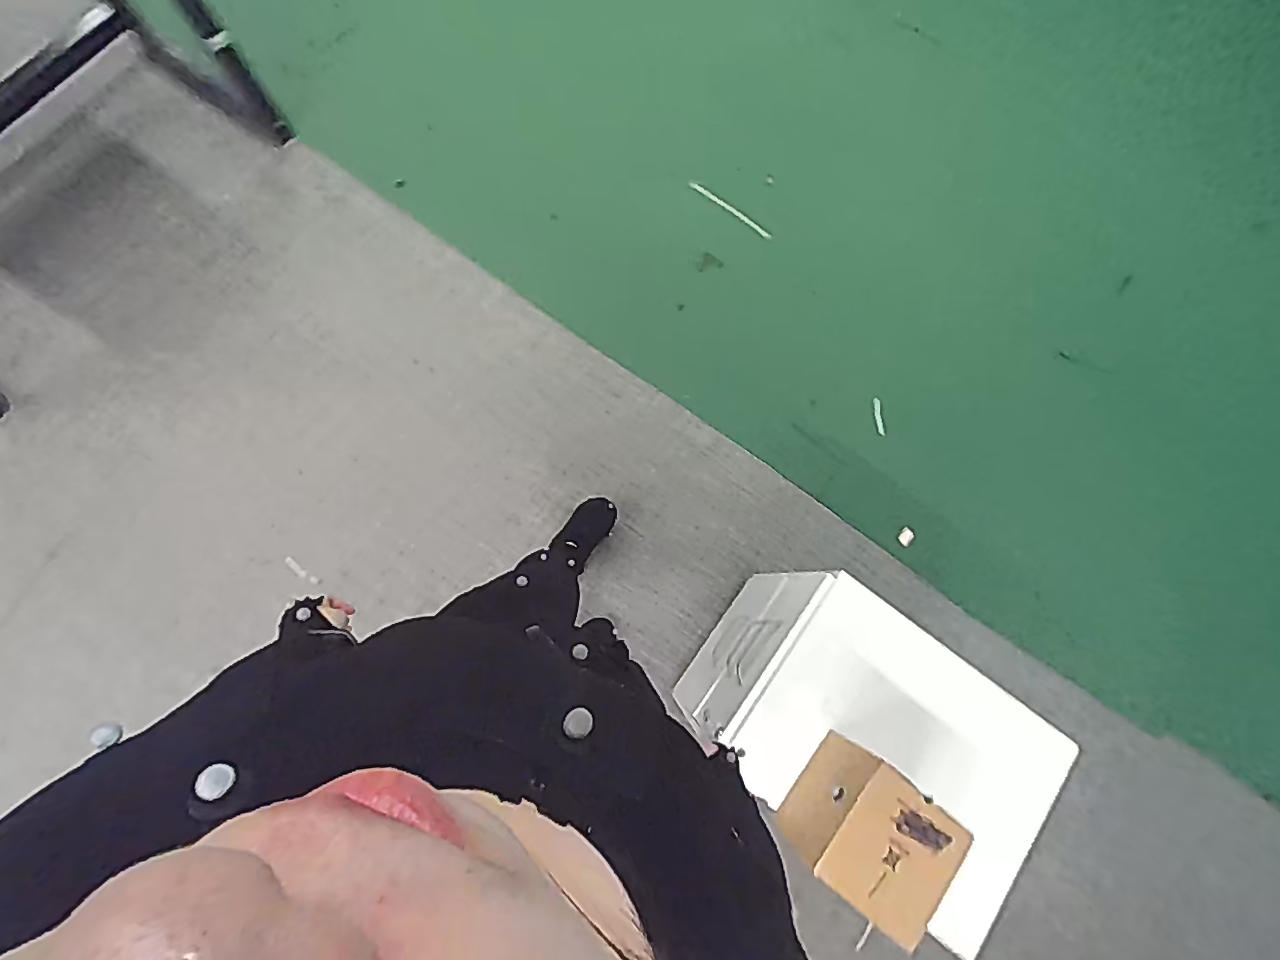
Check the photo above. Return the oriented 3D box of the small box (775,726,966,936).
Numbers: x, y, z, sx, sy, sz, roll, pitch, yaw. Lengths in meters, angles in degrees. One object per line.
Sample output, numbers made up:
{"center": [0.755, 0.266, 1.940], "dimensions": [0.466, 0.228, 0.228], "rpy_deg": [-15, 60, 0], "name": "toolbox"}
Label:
{"center": [0.334, 0.510, 0.820], "dimensions": [0.168, 0.176, 0.179], "rpy_deg": [40, 78, 3], "name": "small box"}
